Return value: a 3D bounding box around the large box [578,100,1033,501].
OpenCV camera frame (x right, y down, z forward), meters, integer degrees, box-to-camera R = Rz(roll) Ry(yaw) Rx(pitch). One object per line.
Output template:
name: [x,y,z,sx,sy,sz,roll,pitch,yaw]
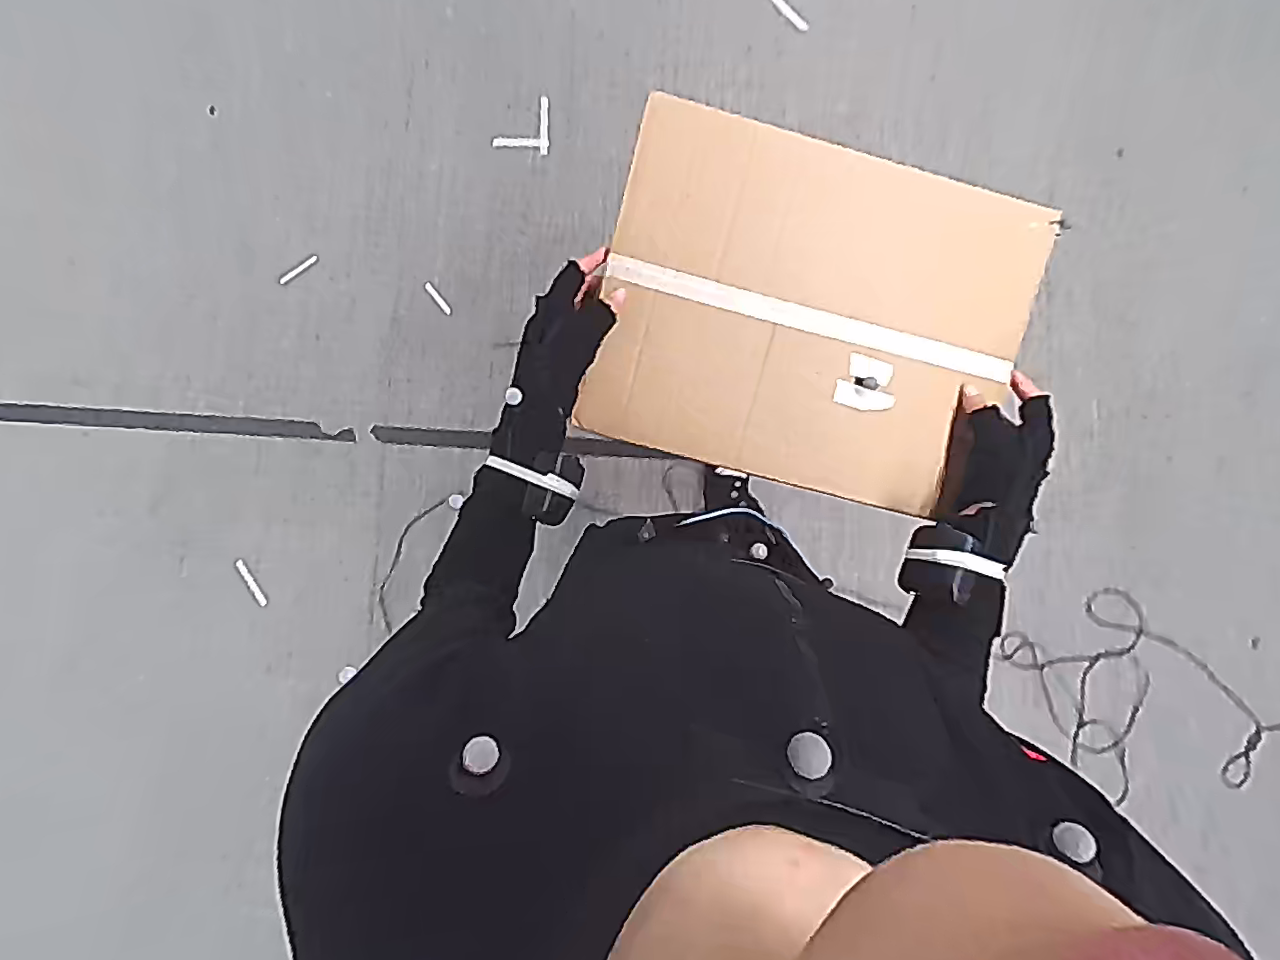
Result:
large box: [0.156,-0.187,0.684,0.408,0.320,0.320,14,98,-4]
